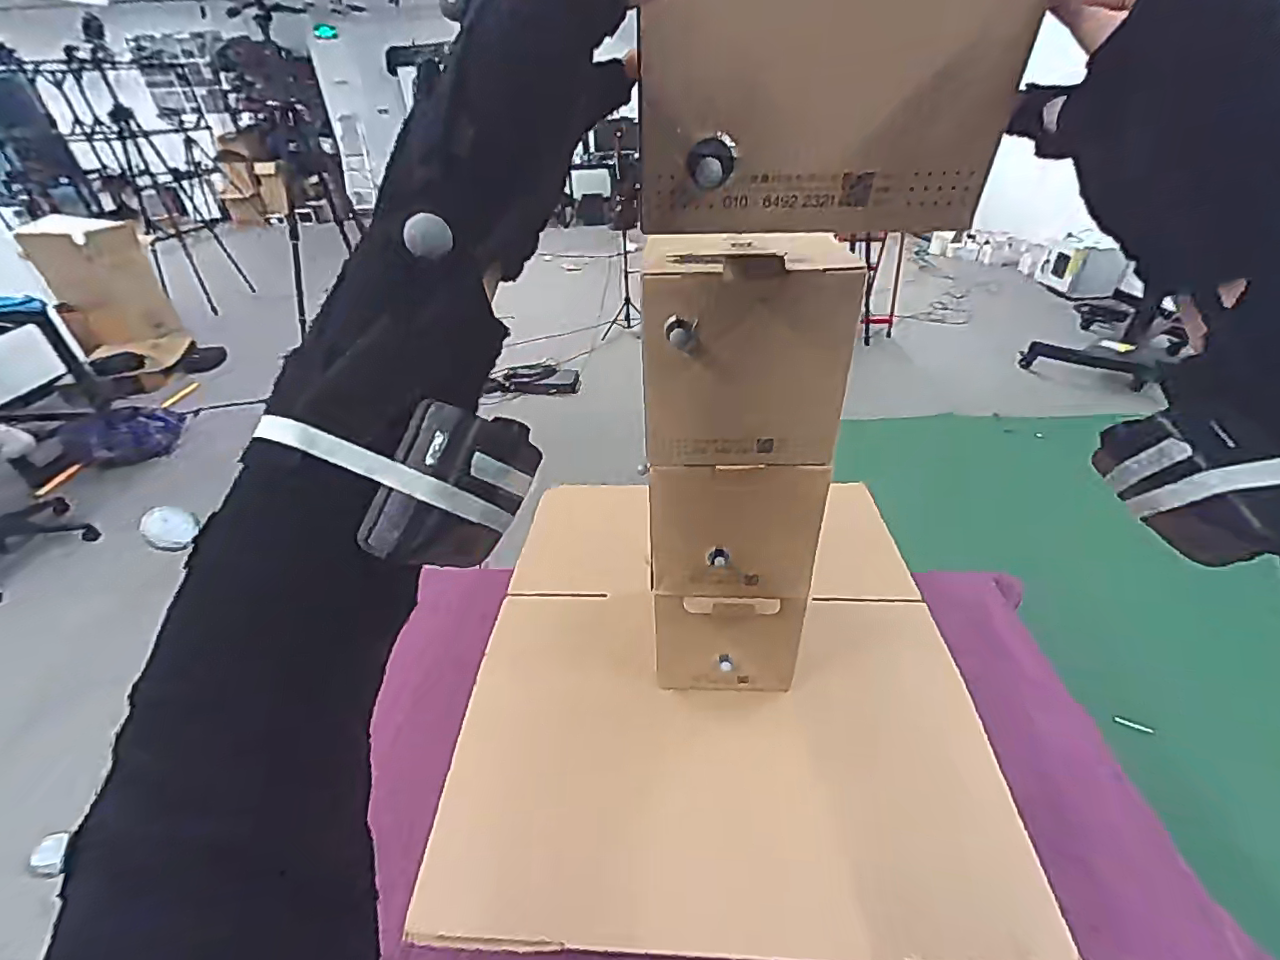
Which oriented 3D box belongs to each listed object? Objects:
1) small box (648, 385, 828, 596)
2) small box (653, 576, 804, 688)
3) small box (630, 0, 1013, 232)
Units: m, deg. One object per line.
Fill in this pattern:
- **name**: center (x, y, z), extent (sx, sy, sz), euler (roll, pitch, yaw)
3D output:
- **small box**: center (0.095, 0.006, 0.604), extent (0.168, 0.176, 0.179), euler (0, 35, 4)
- **small box**: center (0.103, 0.140, 0.697), extent (0.168, 0.176, 0.179), euler (-1, 35, 4)
- **small box**: center (0.081, -0.243, 0.294), extent (0.168, 0.176, 0.179), euler (0, 39, 2)
